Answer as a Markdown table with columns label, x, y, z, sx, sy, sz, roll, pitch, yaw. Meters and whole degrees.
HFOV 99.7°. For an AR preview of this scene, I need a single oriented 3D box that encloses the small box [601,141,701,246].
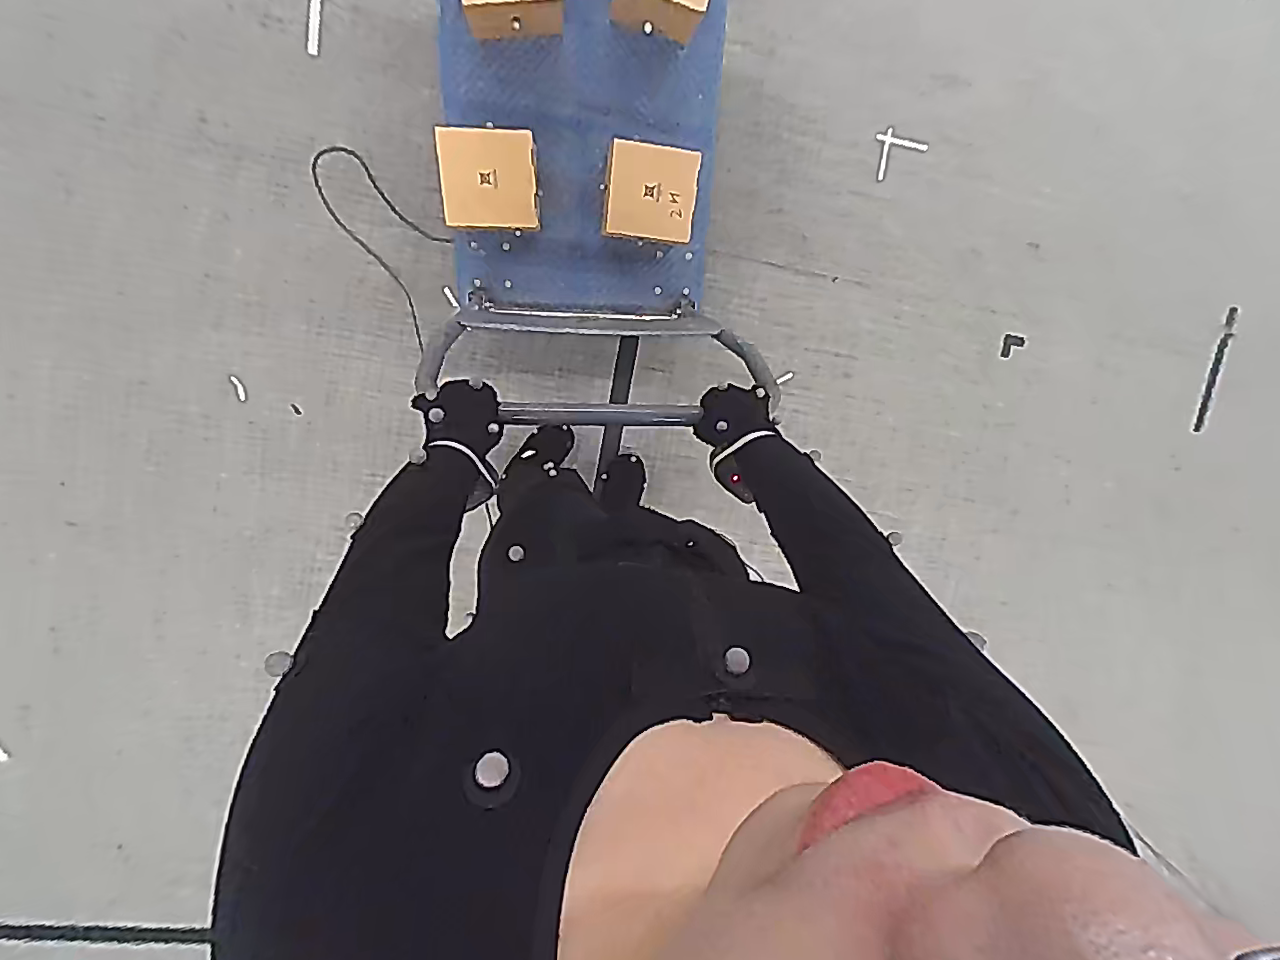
| label | x | y | z | sx | sy | sz | roll | pitch | yaw |
| --- | --- | --- | --- | --- | --- | --- | --- | --- | --- |
| small box | 0.013 | -0.592 | 1.138 | 0.179 | 0.176 | 0.168 | 3 | 112 | -10 |

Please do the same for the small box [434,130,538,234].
| label | x | y | z | sx | sy | sz | roll | pitch | yaw |
| --- | --- | --- | --- | --- | --- | --- | --- | --- | --- |
| small box | -0.301 | -0.591 | 1.092 | 0.179 | 0.176 | 0.168 | -4 | 112 | -9 |

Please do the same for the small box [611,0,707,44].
| label | x | y | z | sx | sy | sz | roll | pitch | yaw |
| --- | --- | --- | --- | --- | --- | --- | --- | --- | --- |
| small box | 0.045 | -0.956 | 0.995 | 0.168 | 0.176 | 0.179 | 10 | 111 | -12 |
